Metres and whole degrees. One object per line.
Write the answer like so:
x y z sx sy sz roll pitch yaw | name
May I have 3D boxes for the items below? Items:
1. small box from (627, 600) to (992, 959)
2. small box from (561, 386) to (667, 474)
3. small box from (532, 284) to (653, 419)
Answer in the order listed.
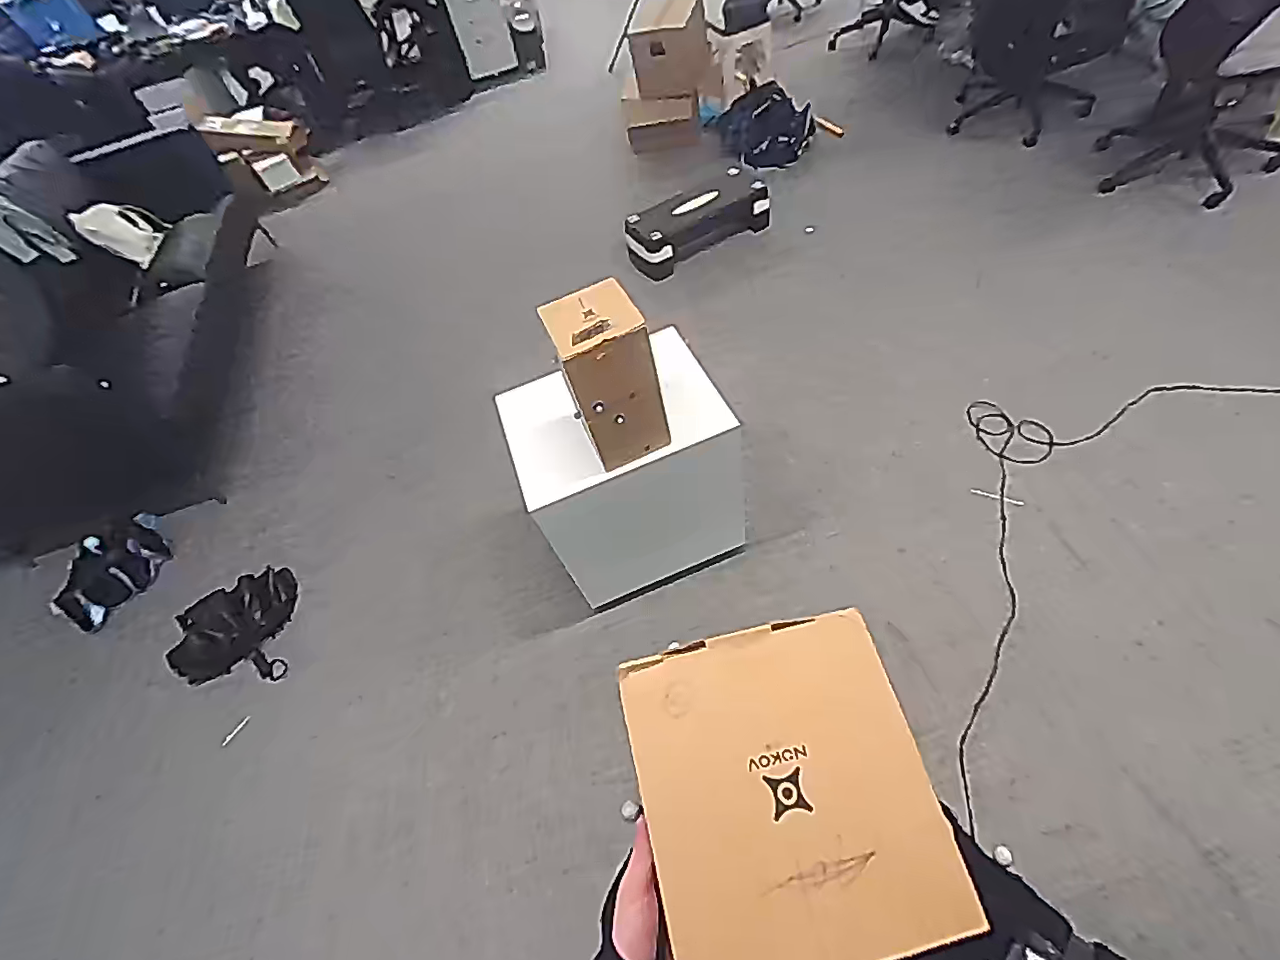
0.088 0.206 0.384 0.168 0.176 0.179 -13 64 -5 | small box
-0.057 -0.146 1.191 0.168 0.176 0.179 -26 52 -6 | small box
-0.088 -0.243 1.061 0.168 0.176 0.179 -25 51 -6 | small box
